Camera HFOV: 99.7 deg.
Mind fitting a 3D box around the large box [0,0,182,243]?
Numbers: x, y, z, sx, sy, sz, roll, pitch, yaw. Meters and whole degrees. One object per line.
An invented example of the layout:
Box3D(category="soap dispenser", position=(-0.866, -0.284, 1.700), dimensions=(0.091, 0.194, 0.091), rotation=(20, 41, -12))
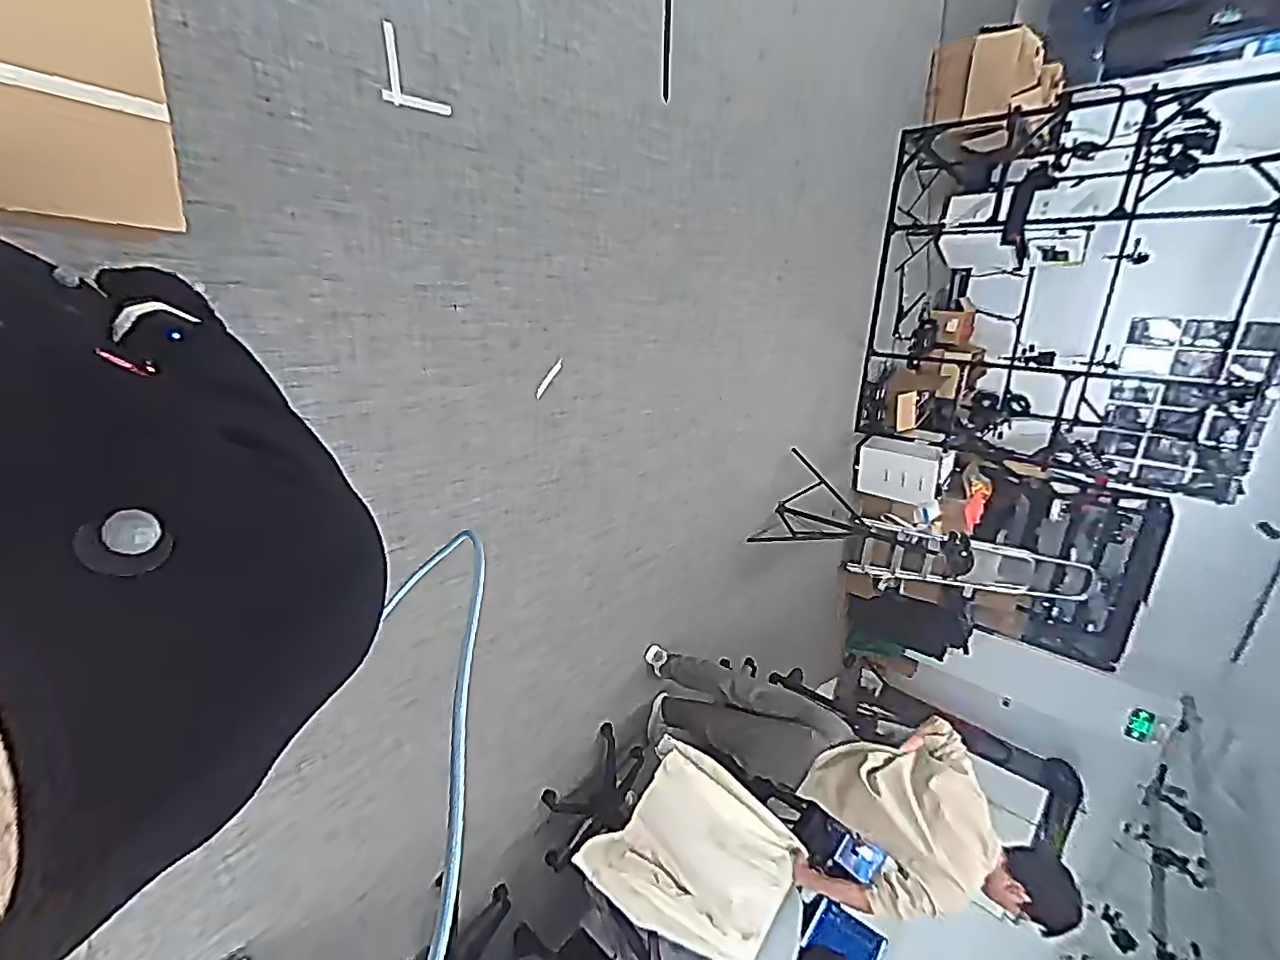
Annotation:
Box3D(category="large box", position=(-0.928, -0.514, 0.721), dimensions=(0.408, 0.320, 0.320), rotation=(-15, 115, -48))
